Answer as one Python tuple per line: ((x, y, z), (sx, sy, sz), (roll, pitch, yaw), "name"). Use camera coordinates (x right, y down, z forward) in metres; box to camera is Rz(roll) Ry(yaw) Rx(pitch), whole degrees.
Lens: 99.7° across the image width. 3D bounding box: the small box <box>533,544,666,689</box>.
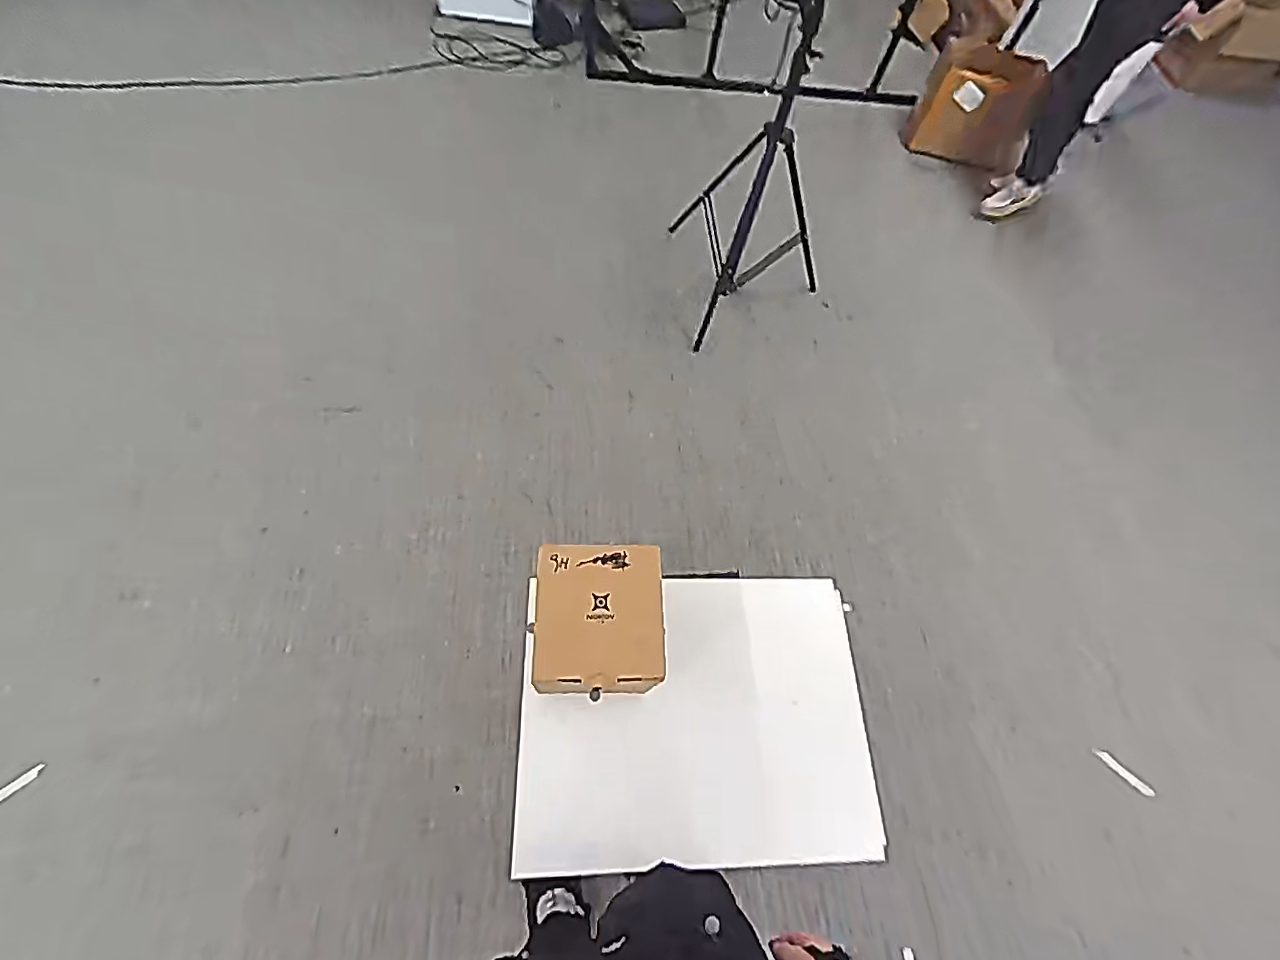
((-0.058, 0.200, 0.766), (0.168, 0.176, 0.179), (2, 65, -7), "small box")
